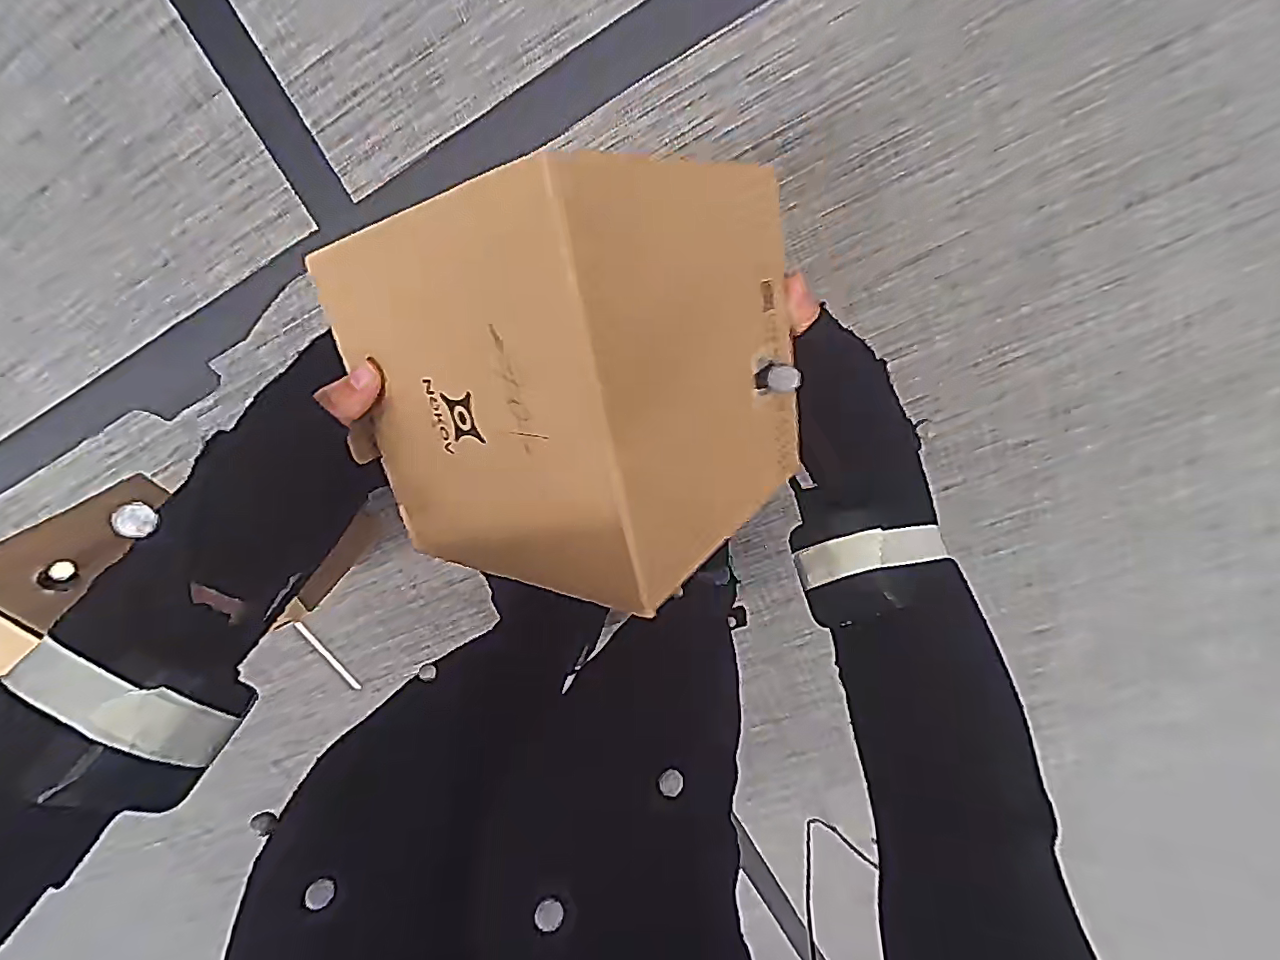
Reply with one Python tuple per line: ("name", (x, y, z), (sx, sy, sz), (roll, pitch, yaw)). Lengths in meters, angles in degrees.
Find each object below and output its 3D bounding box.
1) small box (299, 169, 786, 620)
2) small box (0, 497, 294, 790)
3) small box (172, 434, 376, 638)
("small box", (-0.040, -0.055, 0.298), (0.179, 0.176, 0.168), (5, 116, 38))
("small box", (-0.481, 0.138, 0.503), (0.168, 0.176, 0.179), (-36, 111, 20))
("small box", (-0.465, 0.072, 0.653), (0.168, 0.176, 0.179), (-24, 112, 14))
